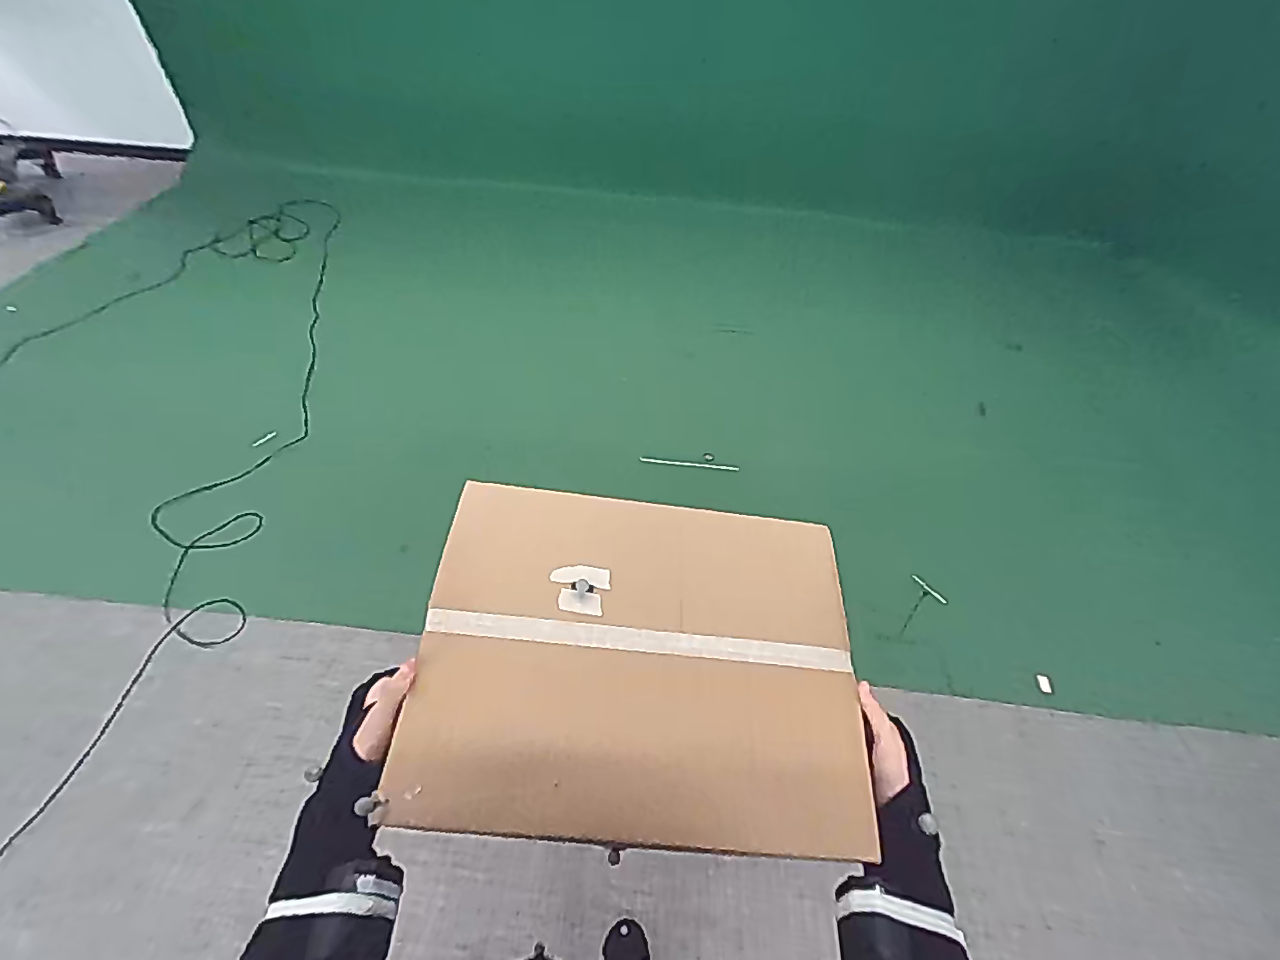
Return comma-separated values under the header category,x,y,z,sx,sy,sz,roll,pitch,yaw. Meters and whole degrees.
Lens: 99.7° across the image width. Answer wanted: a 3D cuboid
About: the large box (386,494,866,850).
category,x,y,z,sx,sy,sz,roll,pitch,yaw
large box,-0.014,0.240,0.645,0.408,0.320,0.320,6,56,-4
